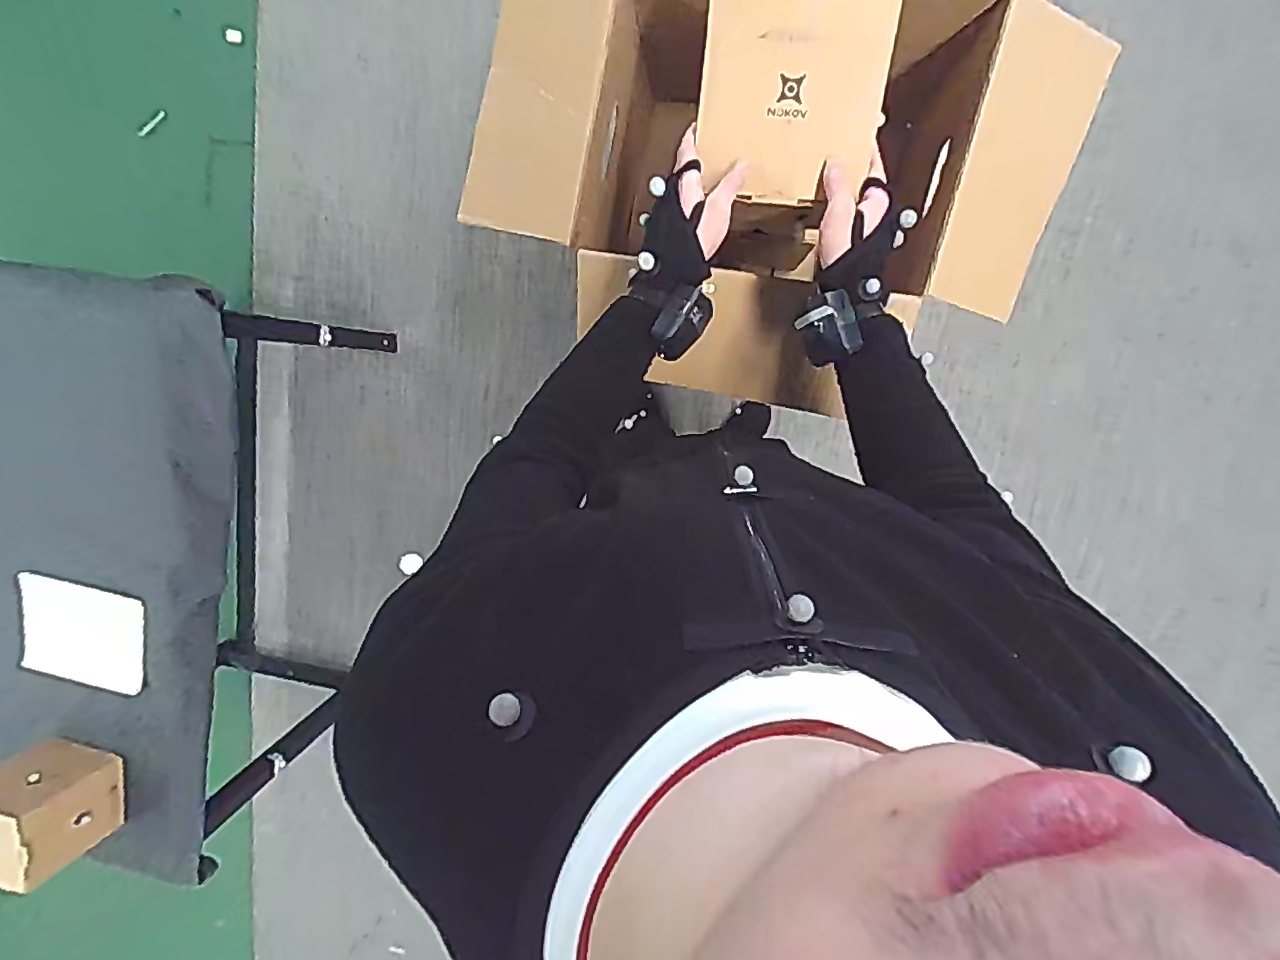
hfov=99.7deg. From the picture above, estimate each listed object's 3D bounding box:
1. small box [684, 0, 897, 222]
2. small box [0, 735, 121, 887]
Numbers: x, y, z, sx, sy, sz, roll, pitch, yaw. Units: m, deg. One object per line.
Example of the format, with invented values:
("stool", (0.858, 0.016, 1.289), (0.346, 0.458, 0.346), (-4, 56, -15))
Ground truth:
("small box", (0.139, -0.372, 0.551), (0.168, 0.176, 0.179), (6, 108, 5))
("small box", (-1.158, 0.625, 1.042), (0.179, 0.176, 0.168), (11, 101, 6))
